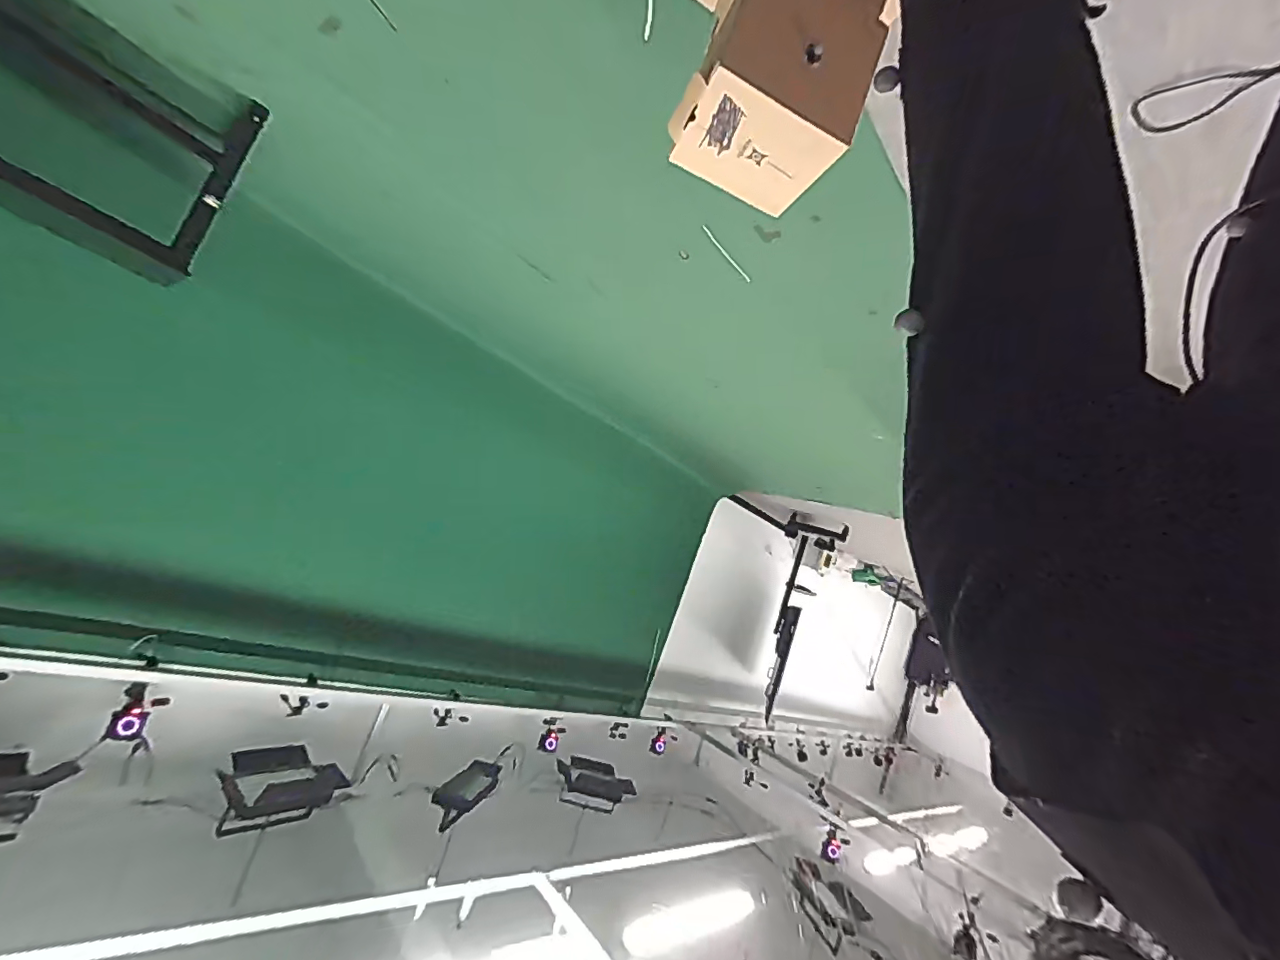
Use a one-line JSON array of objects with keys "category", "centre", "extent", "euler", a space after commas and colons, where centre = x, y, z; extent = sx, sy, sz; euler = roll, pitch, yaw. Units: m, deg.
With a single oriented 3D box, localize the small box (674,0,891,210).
[{"category": "small box", "centre": [0.170, -0.486, 0.670], "extent": [0.179, 0.176, 0.168], "euler": [21, 173, -14]}]
